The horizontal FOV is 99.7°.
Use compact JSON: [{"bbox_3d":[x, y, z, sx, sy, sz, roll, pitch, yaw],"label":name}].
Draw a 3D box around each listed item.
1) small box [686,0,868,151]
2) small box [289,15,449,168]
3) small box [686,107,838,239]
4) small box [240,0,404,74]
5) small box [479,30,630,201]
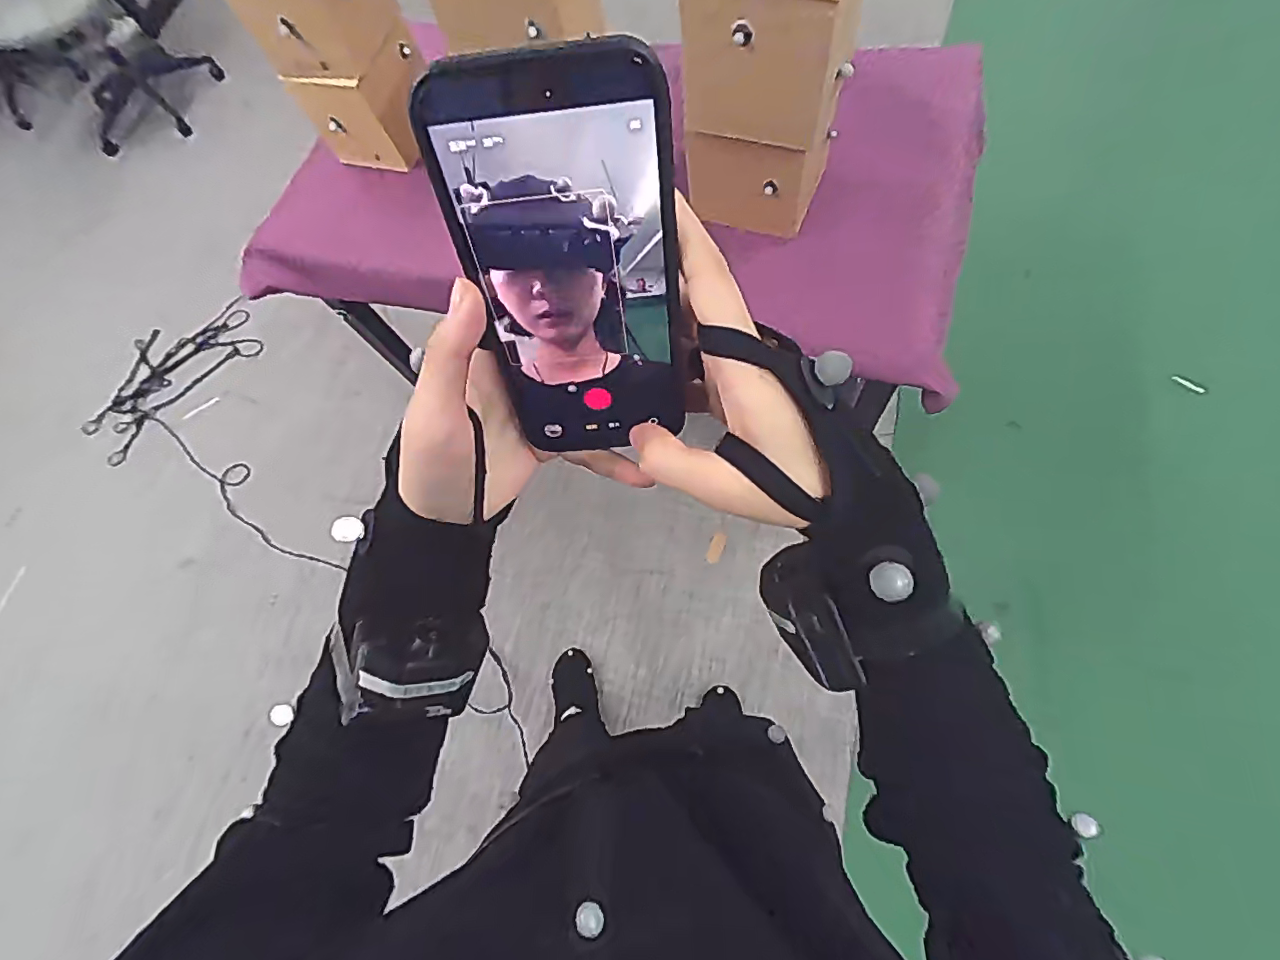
[{"bbox_3d":[0.165,-0.539,0.656,0.179,0.176,0.168,21,74,15],"label":"small box"},{"bbox_3d":[-0.487,-0.715,1.002,0.168,0.176,0.179,16,72,14],"label":"small box"},{"bbox_3d":[0.186,-0.497,0.814,0.179,0.176,0.168,21,74,16],"label":"small box"},{"bbox_3d":[-0.508,-0.781,0.852,0.168,0.176,0.179,11,72,12],"label":"small box"},{"bbox_3d":[-0.128,-0.597,0.899,0.179,0.176,0.168,15,72,14],"label":"small box"}]
